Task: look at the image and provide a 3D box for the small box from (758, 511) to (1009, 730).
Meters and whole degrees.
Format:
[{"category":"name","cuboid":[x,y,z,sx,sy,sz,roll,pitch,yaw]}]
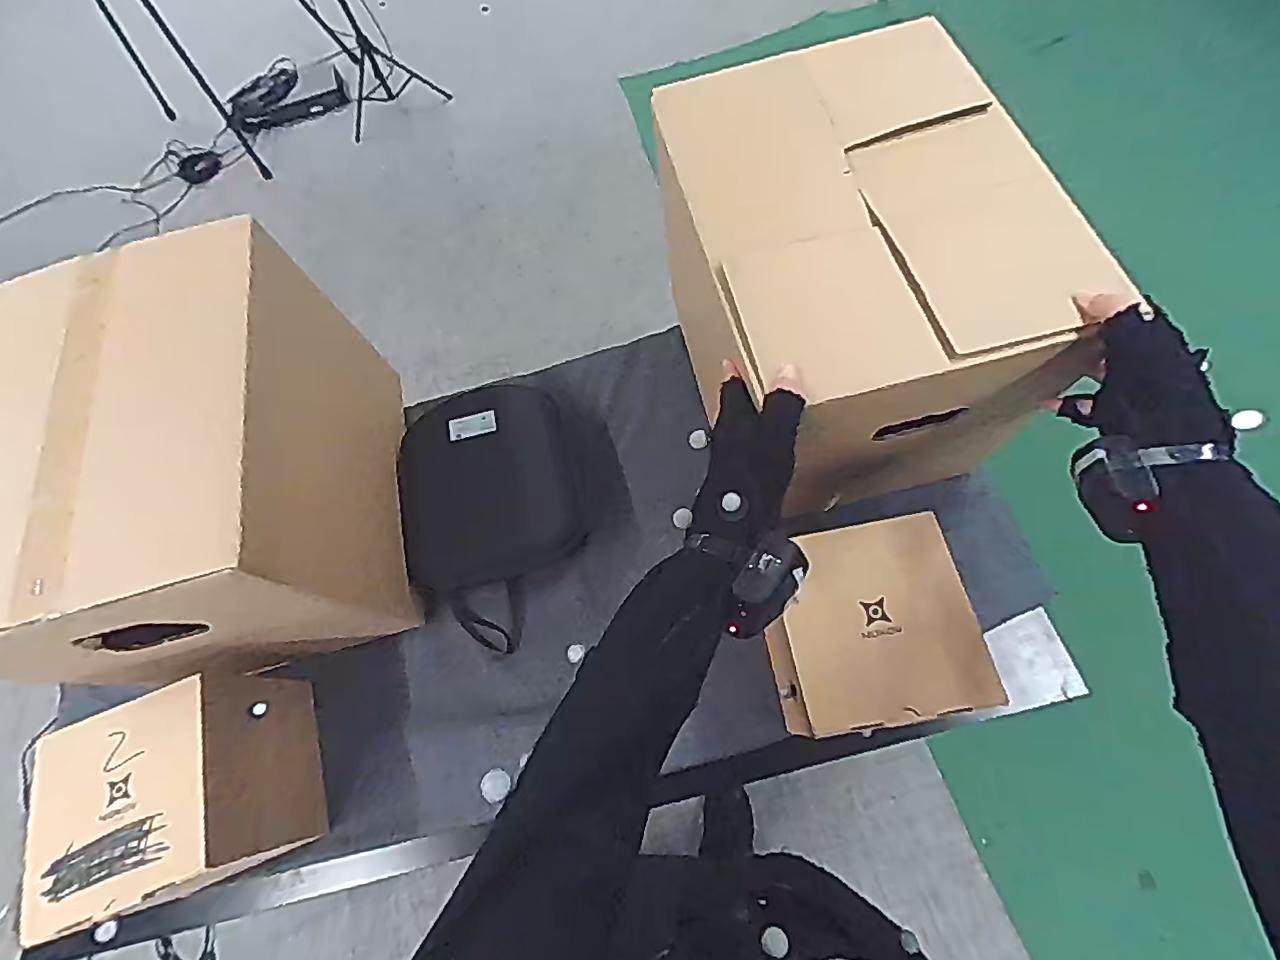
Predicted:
[{"category":"small box","cuboid":[0.225,0.152,0.560,0.168,0.176,0.179,-11,67,3]}]
